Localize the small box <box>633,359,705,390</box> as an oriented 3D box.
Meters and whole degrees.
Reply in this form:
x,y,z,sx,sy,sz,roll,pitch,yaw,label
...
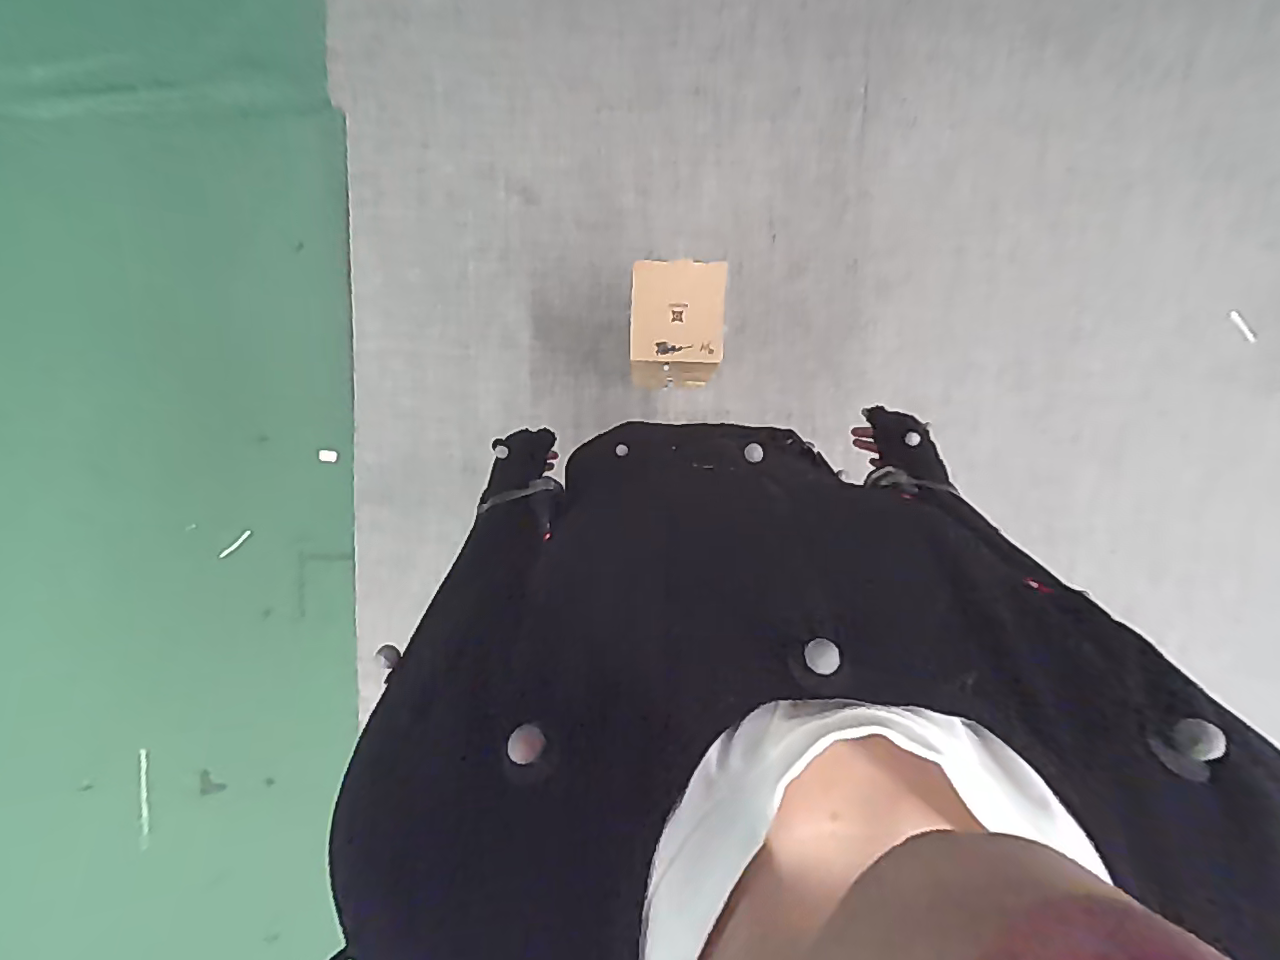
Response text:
x,y,z,sx,sy,sz,roll,pitch,yaw,label
0.077,-0.318,1.353,0.179,0.176,0.168,4,95,3,small box

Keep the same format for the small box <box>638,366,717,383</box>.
x,y,z,sx,sy,sz,roll,pitch,yaw,label
0.086,-0.312,1.192,0.168,0.176,0.179,3,95,4,small box

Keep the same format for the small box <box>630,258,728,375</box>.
x,y,z,sx,sy,sz,roll,pitch,yaw,label
0.072,-0.302,1.028,0.168,0.176,0.179,3,94,3,small box
